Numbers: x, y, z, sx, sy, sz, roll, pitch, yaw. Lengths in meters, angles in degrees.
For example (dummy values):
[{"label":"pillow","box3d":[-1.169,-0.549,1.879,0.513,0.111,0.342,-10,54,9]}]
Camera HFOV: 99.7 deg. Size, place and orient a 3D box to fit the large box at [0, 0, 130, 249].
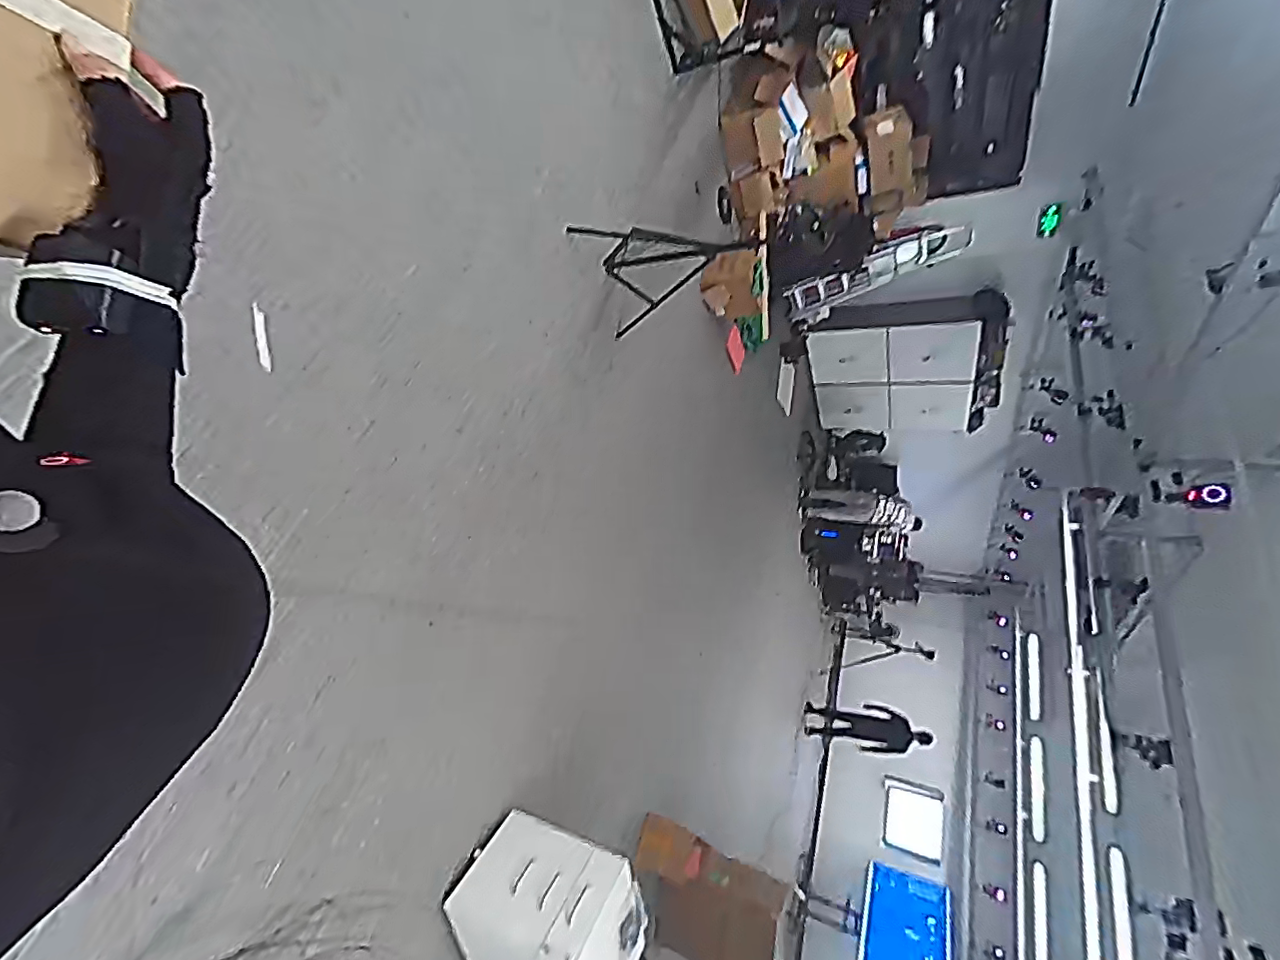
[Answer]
[{"label":"large box","box3d":[-0.617,-0.363,0.308,0.408,0.320,0.320,2,103,-62]}]
